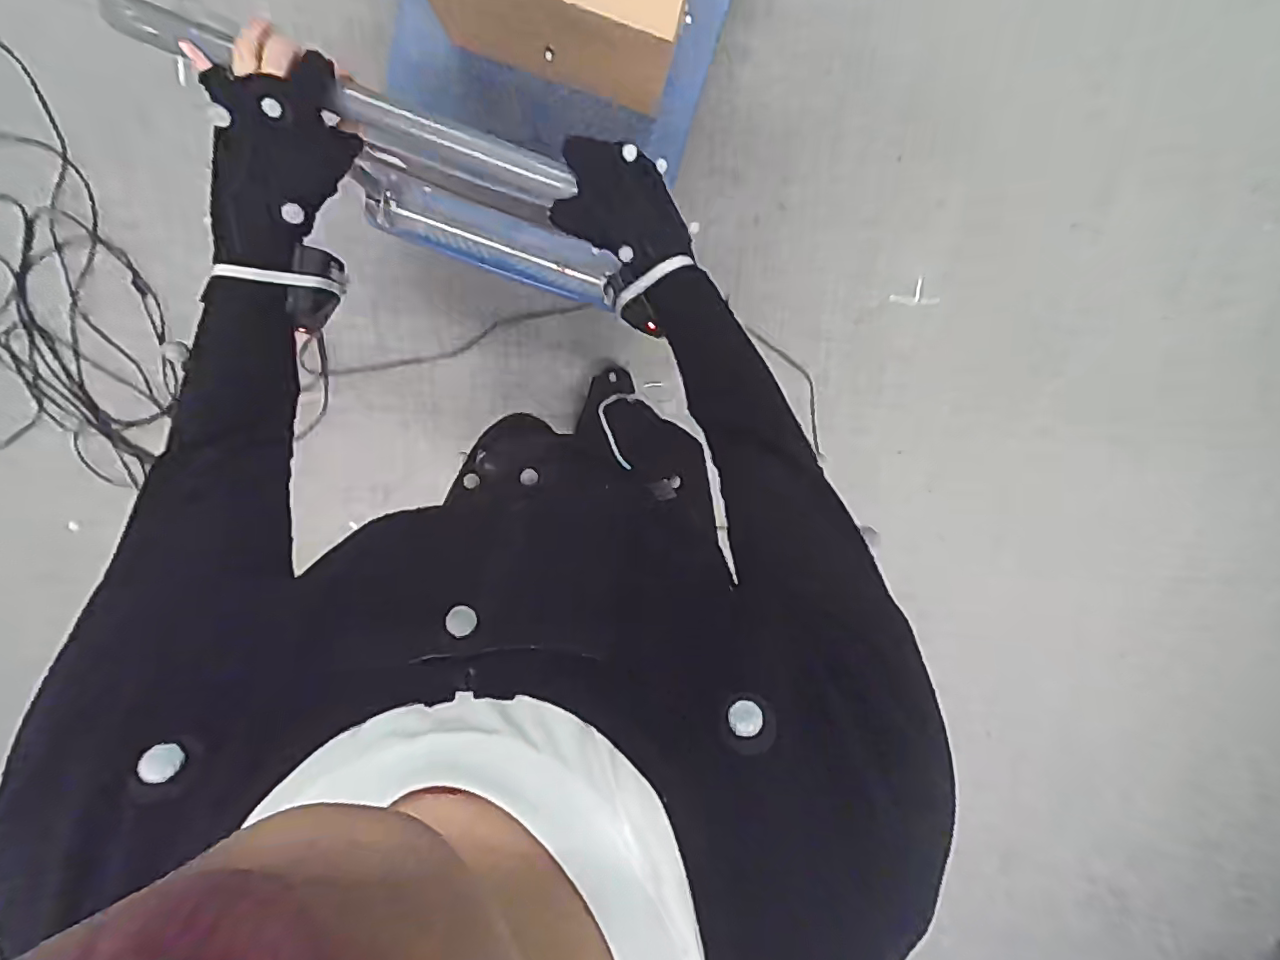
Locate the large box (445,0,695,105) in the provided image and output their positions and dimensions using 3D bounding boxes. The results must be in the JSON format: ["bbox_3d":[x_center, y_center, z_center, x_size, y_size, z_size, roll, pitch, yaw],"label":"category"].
[{"bbox_3d":[-0.094,-0.883,0.869,0.408,0.320,0.320,15,104,-6],"label":"large box"}]
